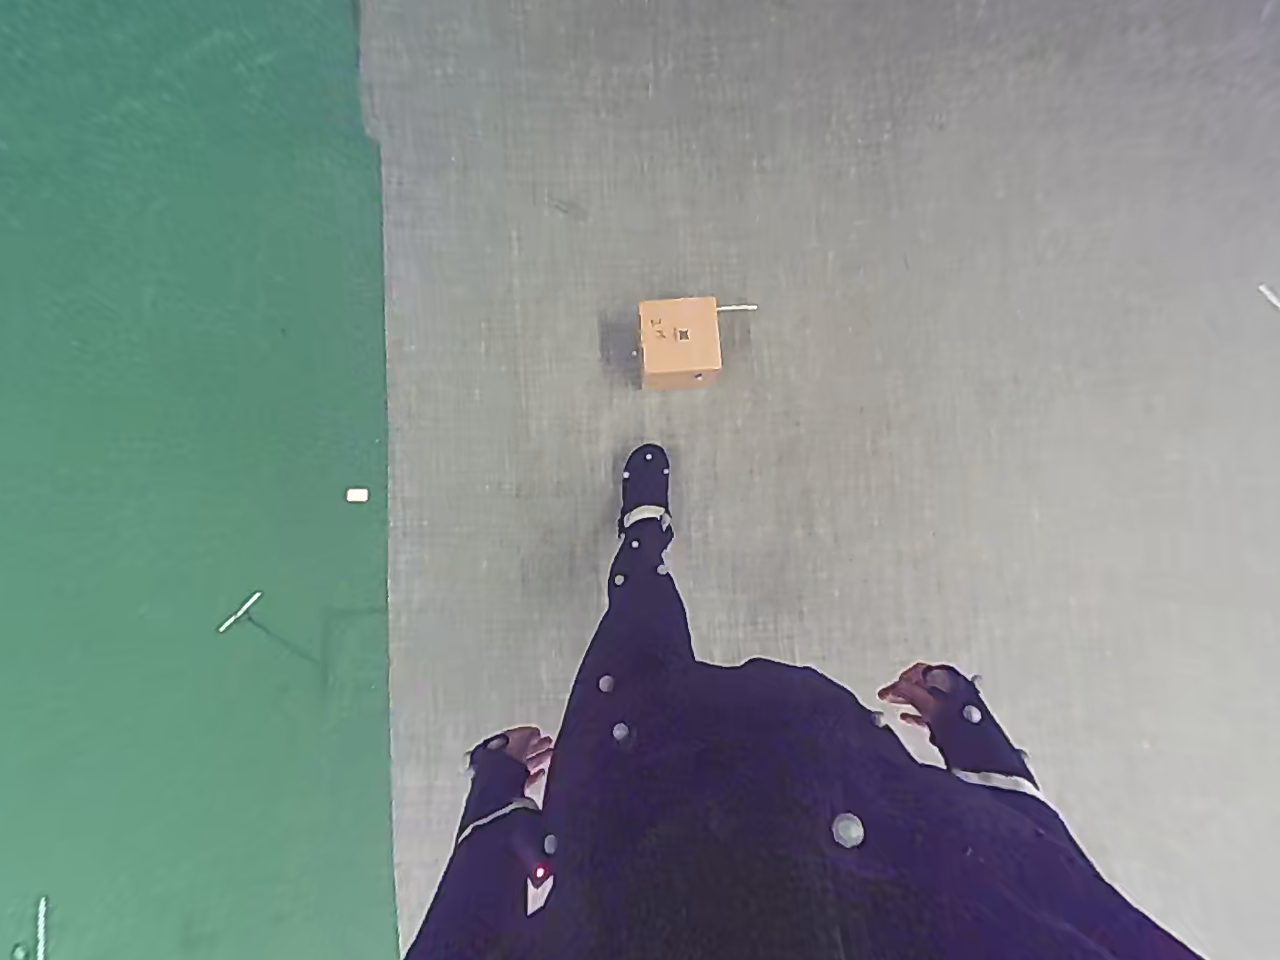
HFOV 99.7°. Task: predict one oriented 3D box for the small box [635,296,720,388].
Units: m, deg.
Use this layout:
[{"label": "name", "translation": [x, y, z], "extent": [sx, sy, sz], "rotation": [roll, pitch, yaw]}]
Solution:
[{"label": "small box", "translation": [0.082, -0.319, 1.275], "extent": [0.179, 0.176, 0.168], "rotation": [-4, 86, -1]}]
